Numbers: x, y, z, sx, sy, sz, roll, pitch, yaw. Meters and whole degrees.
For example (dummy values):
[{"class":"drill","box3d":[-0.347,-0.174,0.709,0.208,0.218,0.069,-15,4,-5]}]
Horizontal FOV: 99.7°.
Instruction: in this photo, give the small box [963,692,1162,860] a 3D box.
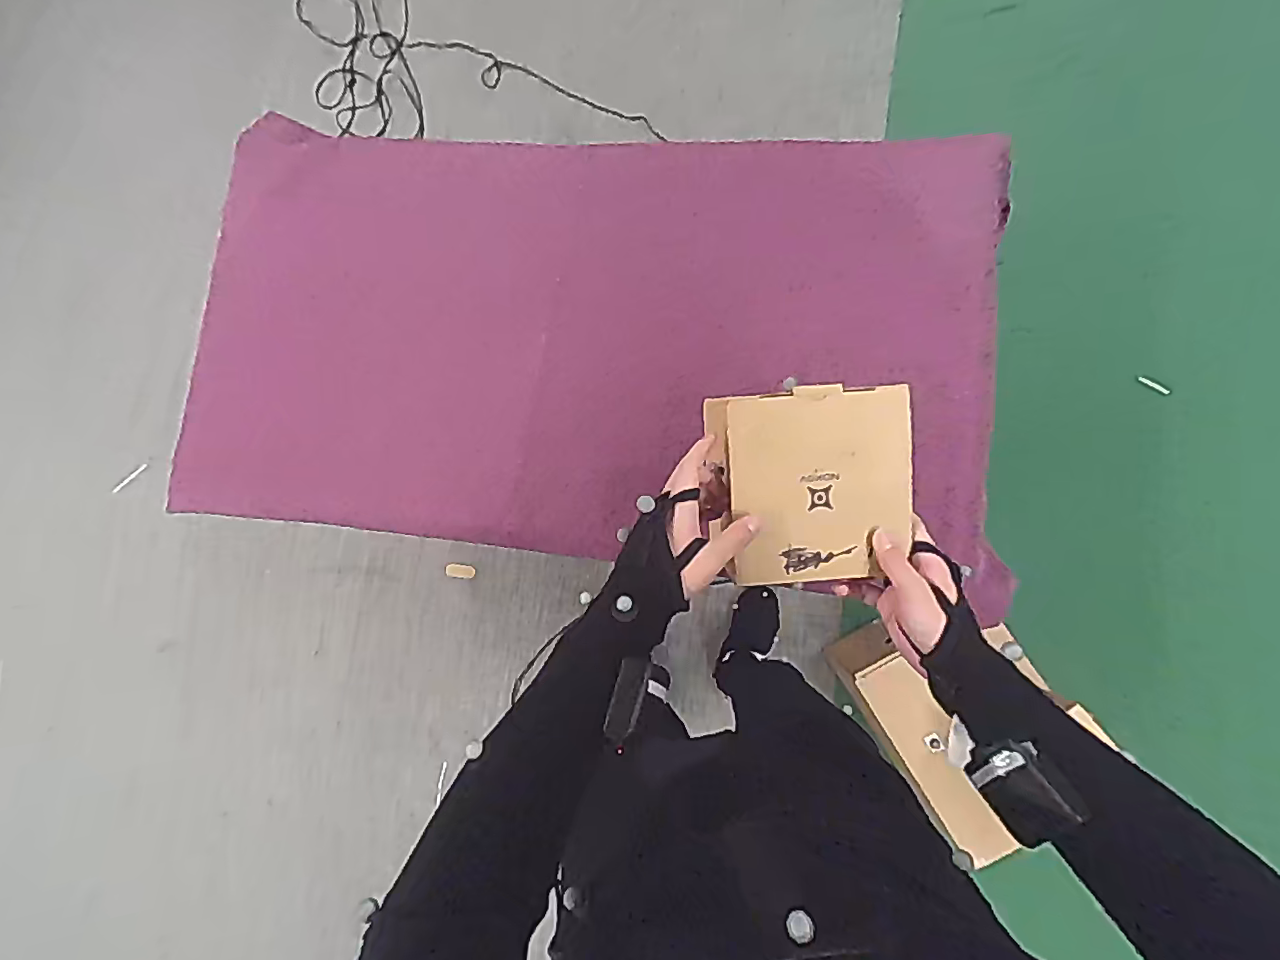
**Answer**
[{"class":"small box","box3d":[0.713,0.494,0.940,0.168,0.176,0.179,-38,80,1]}]

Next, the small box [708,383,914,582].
[{"class":"small box","box3d":[0.165,-0.004,0.568,0.168,0.176,0.179,-4,96,1]}]
